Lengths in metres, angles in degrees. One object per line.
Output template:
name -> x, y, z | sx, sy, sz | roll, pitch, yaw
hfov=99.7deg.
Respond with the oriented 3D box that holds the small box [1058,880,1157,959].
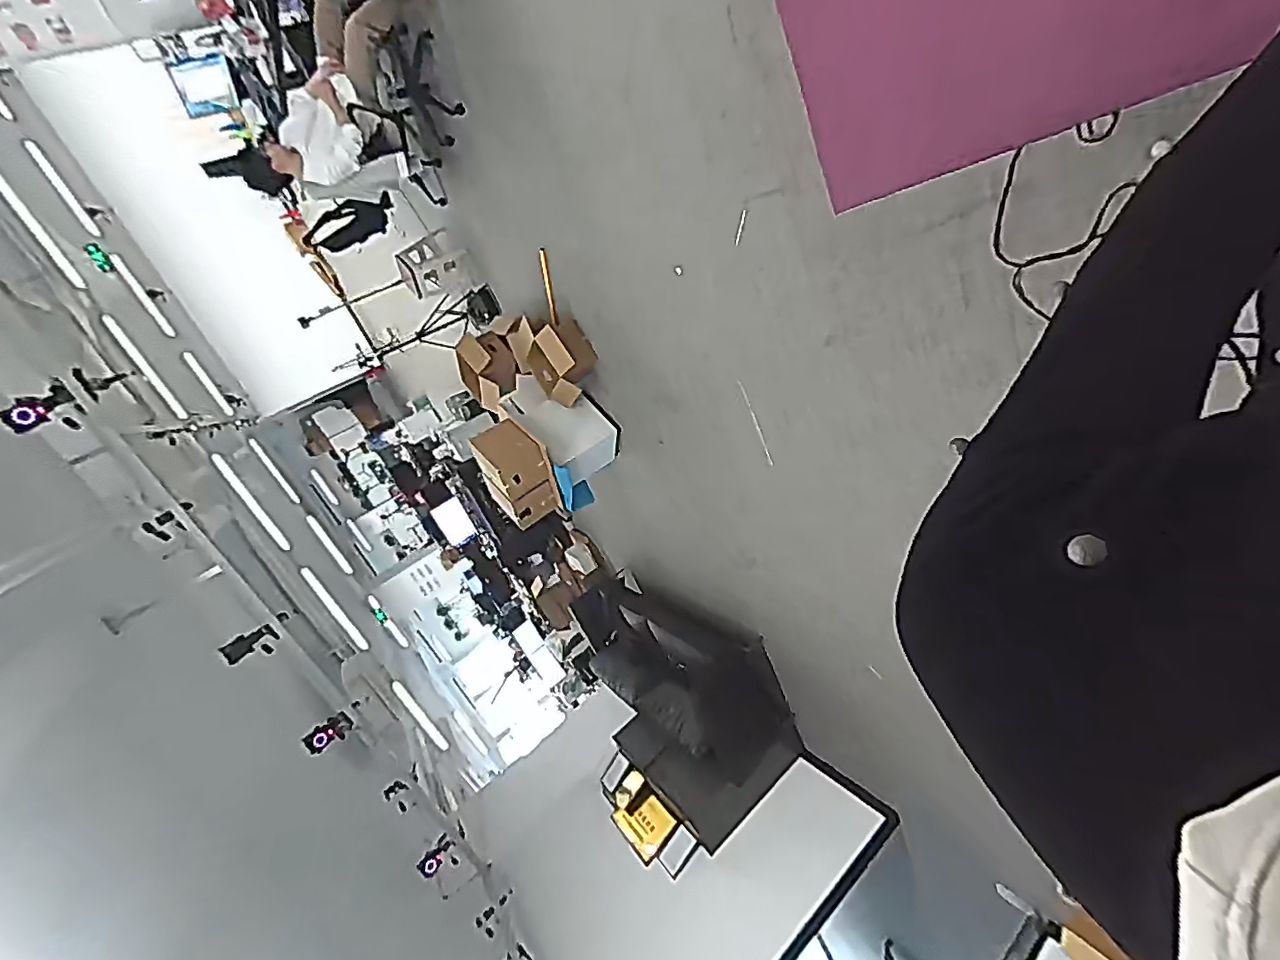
small box -> 1.326, 1.303, 1.537 | 0.168, 0.176, 0.179 | 22, 140, 52
